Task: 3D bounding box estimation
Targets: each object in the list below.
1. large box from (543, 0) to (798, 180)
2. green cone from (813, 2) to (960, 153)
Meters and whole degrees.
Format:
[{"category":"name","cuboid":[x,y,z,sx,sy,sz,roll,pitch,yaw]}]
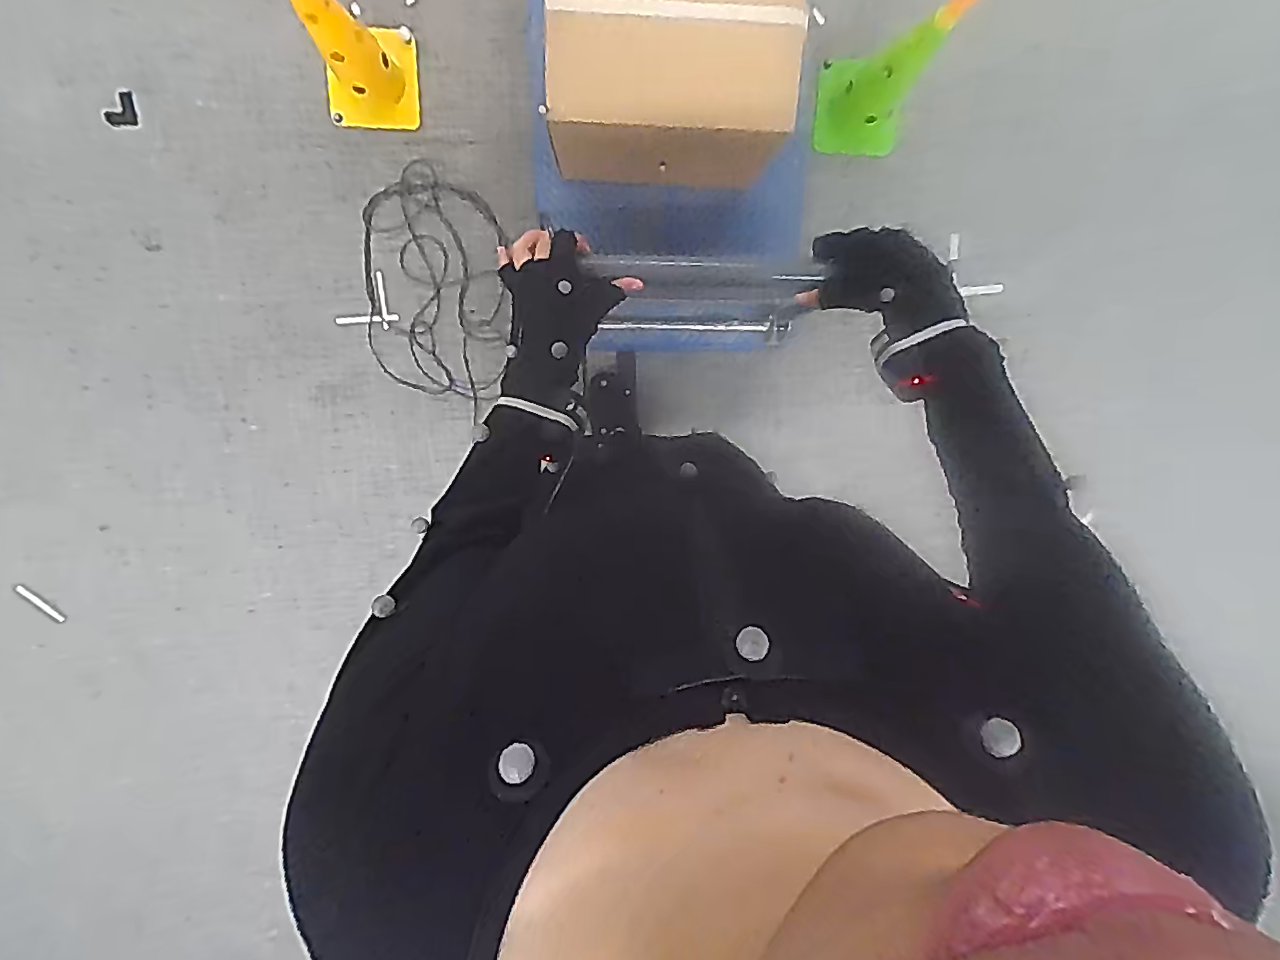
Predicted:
[{"category":"large box","cuboid":[0.044,-0.759,0.982,0.408,0.320,0.320,1,103,-3]},{"category":"green cone","cuboid":[0.534,-0.867,1.139,0.202,0.368,0.200,0,103,-5]}]
